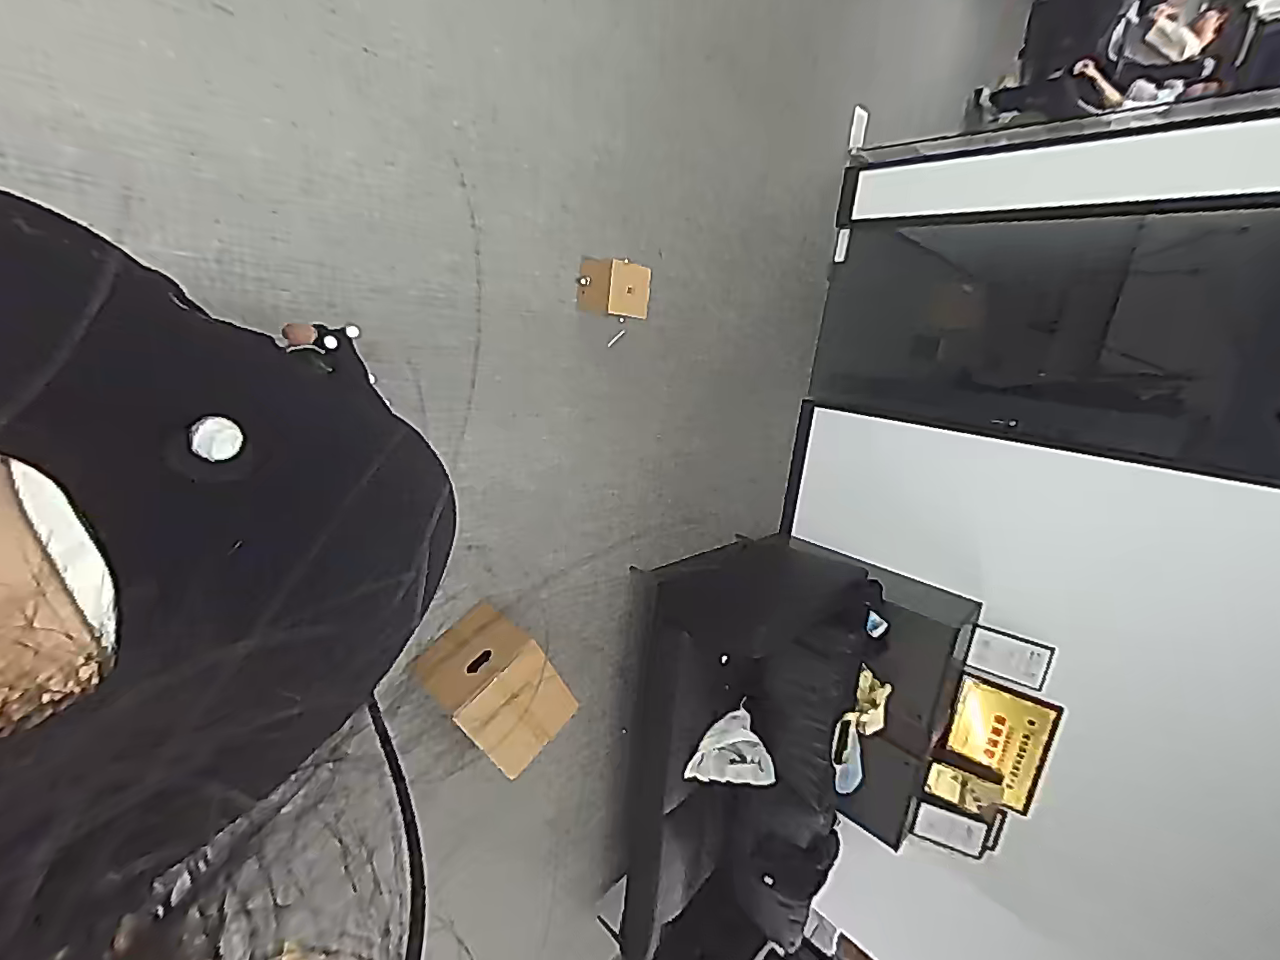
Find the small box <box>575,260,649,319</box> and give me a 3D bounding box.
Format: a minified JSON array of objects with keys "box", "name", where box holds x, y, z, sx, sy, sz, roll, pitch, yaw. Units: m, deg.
[{"box":[-0.096,-0.641,1.824,0.179,0.176,0.168,-8,110,-44],"name":"small box"}]
